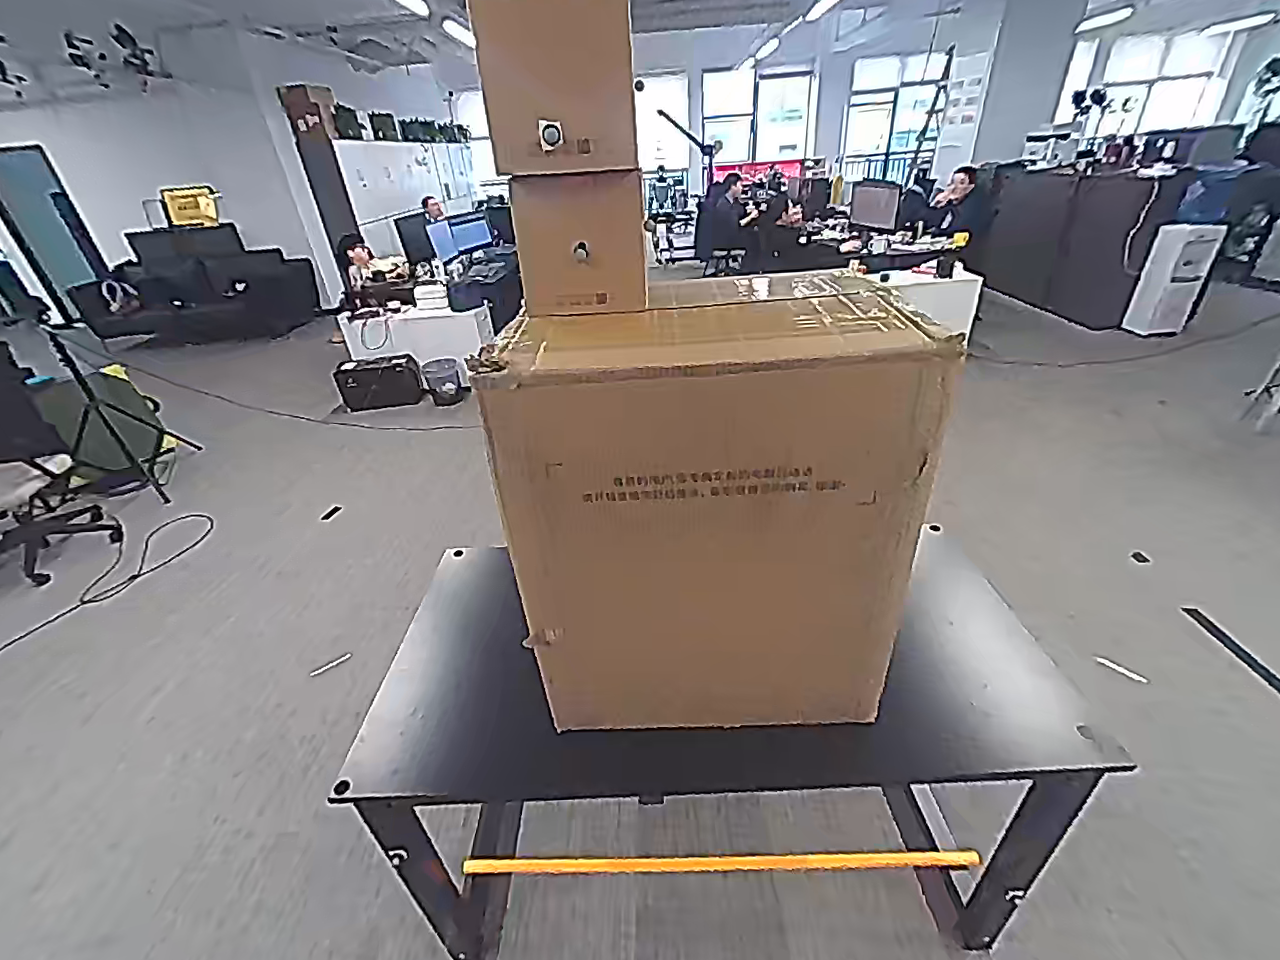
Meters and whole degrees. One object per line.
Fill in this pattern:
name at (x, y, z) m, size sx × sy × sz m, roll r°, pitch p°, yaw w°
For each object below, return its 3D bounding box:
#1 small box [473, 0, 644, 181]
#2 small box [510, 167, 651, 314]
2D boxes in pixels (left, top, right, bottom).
small box at (-0.083, -0.456, 0.642) m, size 0.168 × 0.176 × 0.179 m, roll -5°, pitch 31°, yaw 0°
small box at (-0.070, -0.333, 0.755) m, size 0.168 × 0.176 × 0.179 m, roll -2°, pitch 31°, yaw 2°
